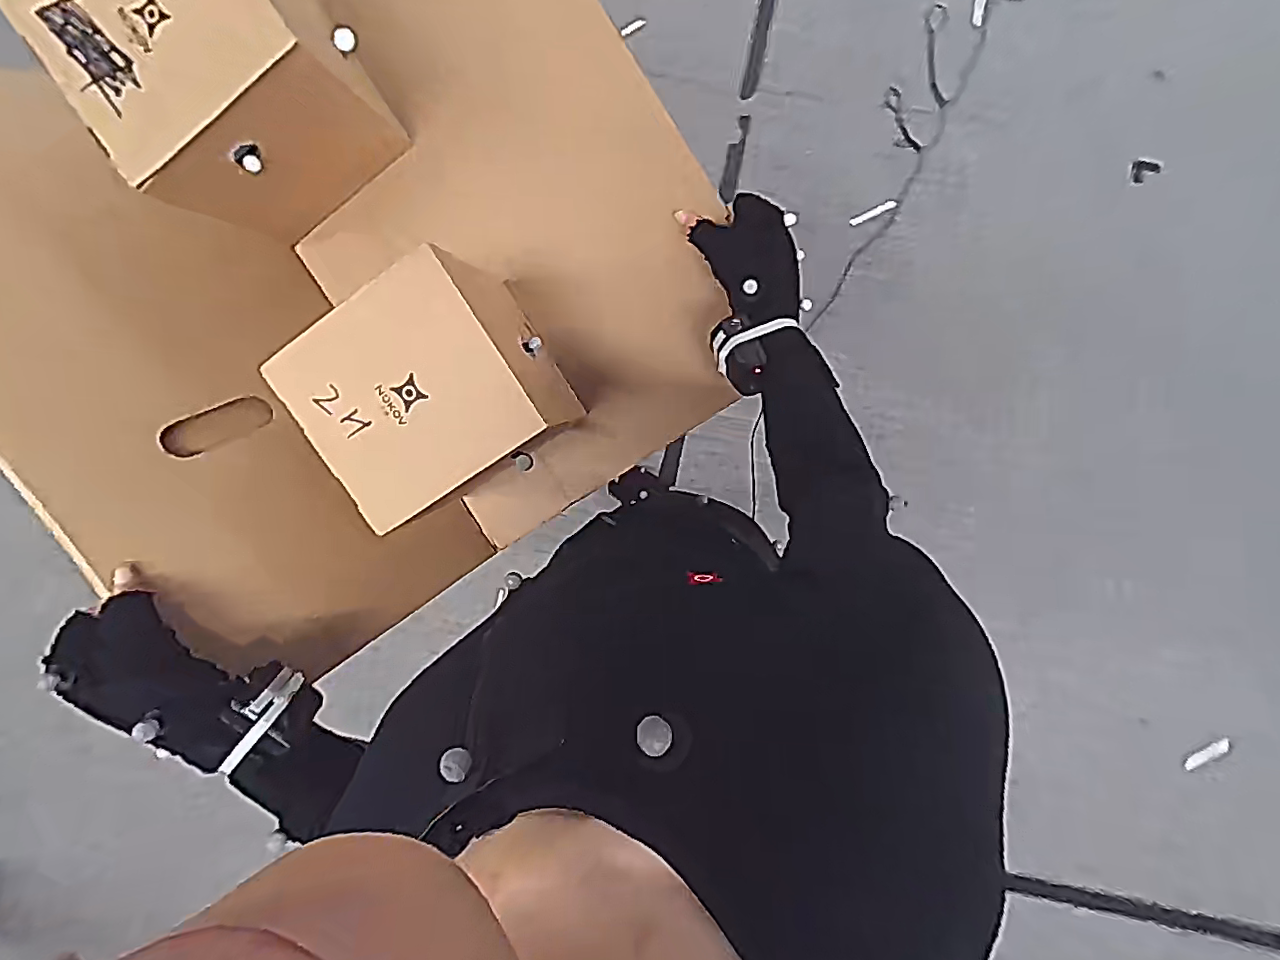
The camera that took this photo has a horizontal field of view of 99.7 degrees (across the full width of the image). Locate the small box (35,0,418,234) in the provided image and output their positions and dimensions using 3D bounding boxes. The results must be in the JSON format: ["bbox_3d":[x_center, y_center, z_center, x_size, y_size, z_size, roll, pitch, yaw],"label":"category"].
[{"bbox_3d":[-0.342,-0.355,0.484,0.179,0.176,0.168,-32,95,9],"label":"small box"}]

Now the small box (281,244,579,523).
[{"bbox_3d":[-0.173,-0.087,0.513,0.179,0.176,0.168,-30,95,10],"label":"small box"}]
